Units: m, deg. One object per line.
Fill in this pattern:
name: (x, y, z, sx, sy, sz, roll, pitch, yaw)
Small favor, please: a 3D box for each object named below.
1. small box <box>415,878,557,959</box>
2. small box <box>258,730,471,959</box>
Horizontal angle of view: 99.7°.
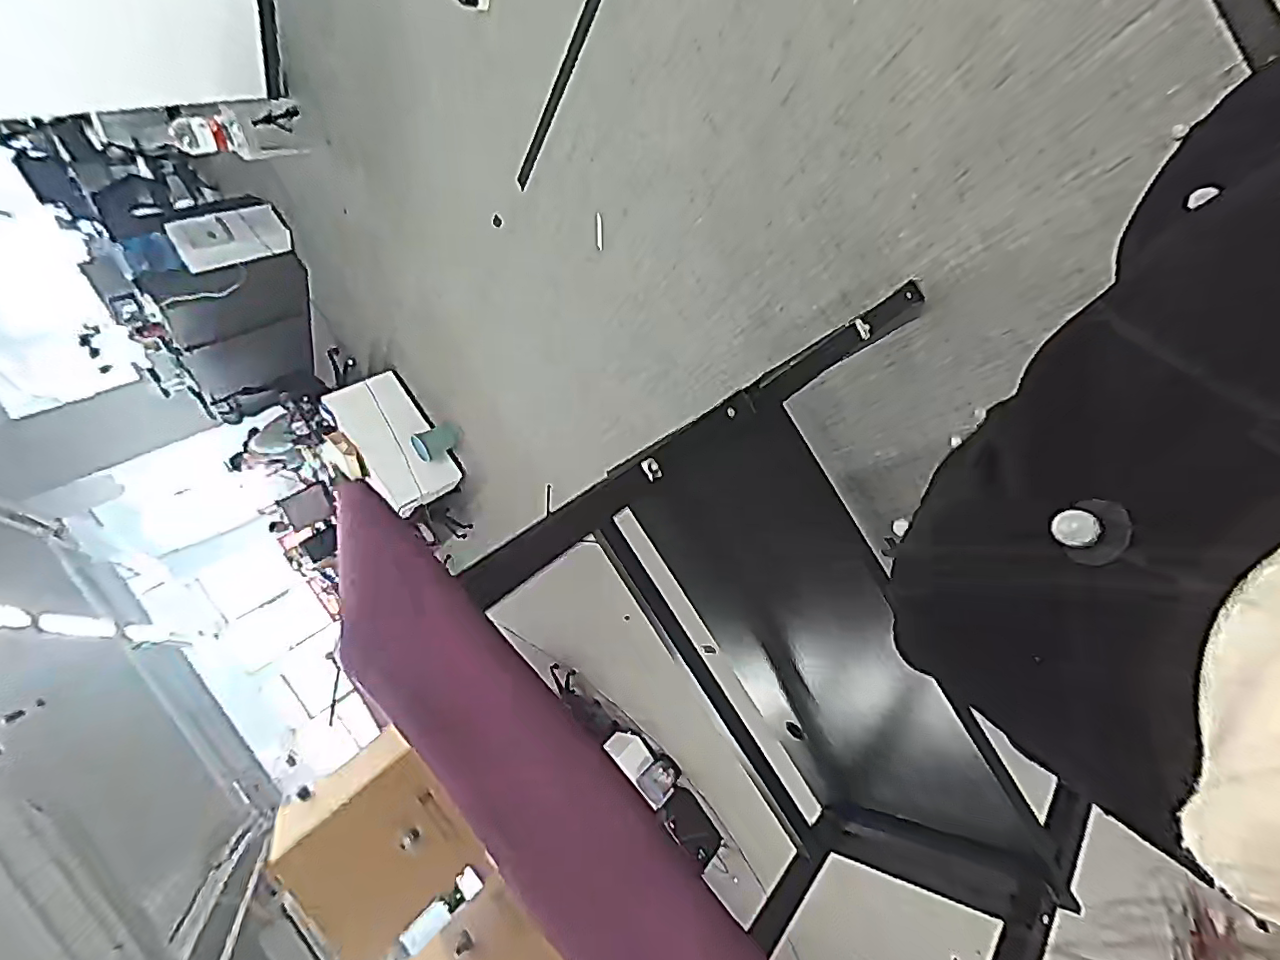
small box: (-0.188, 0.670, 0.693, 0.168, 0.176, 0.179, -22, 101, 57)
small box: (-0.338, 0.446, 0.679, 0.168, 0.176, 0.179, 58, 147, -6)
